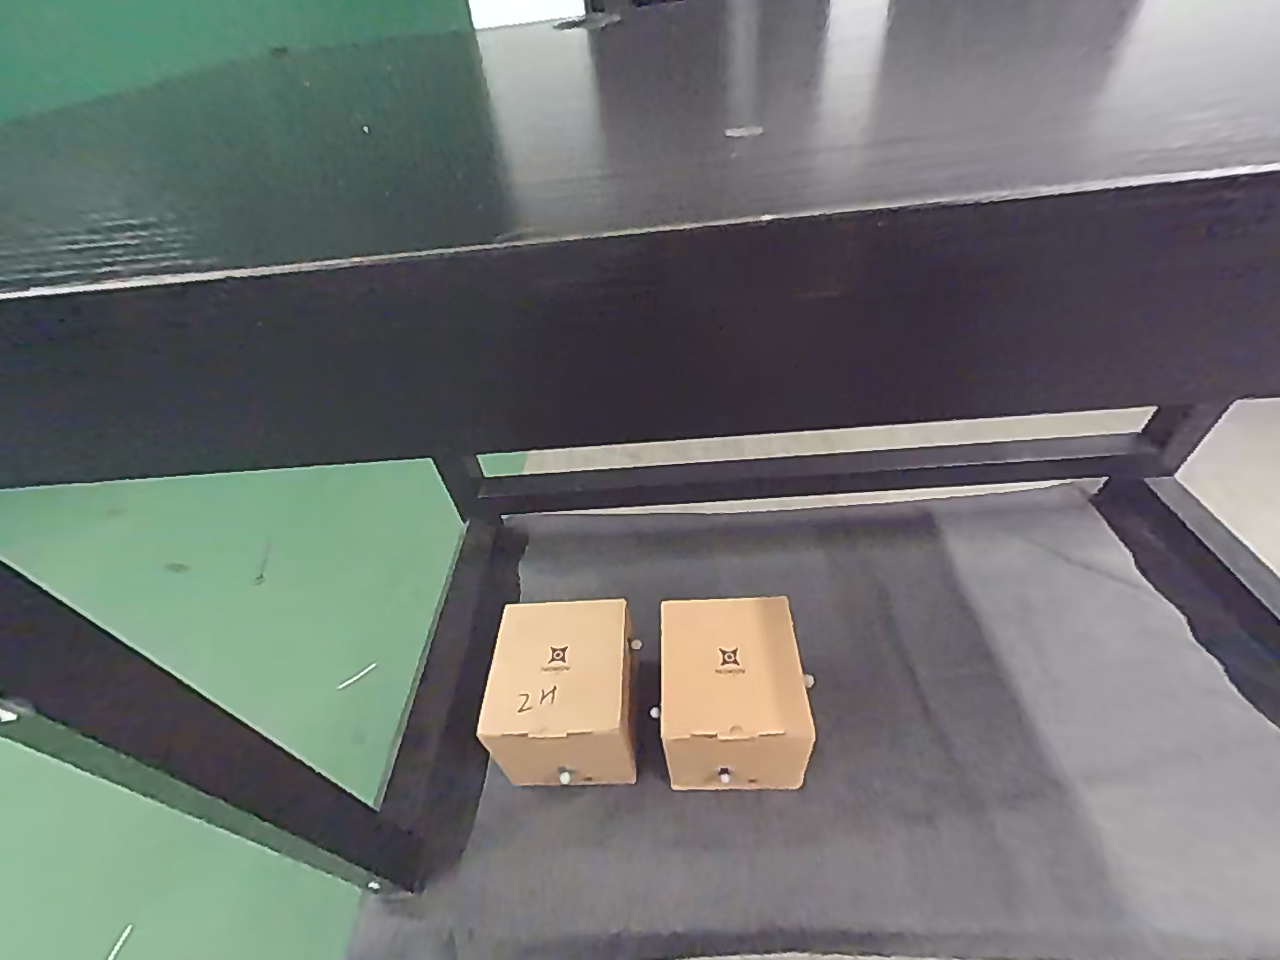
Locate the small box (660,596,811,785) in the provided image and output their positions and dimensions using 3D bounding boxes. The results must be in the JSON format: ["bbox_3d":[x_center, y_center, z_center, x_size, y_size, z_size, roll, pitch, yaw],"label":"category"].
[{"bbox_3d":[0.112,0.271,0.700,0.168,0.176,0.179,-3,44,5],"label":"small box"}]

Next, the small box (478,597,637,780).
[{"bbox_3d":[-0.094,0.276,0.720,0.168,0.176,0.179,-3,44,5],"label":"small box"}]
